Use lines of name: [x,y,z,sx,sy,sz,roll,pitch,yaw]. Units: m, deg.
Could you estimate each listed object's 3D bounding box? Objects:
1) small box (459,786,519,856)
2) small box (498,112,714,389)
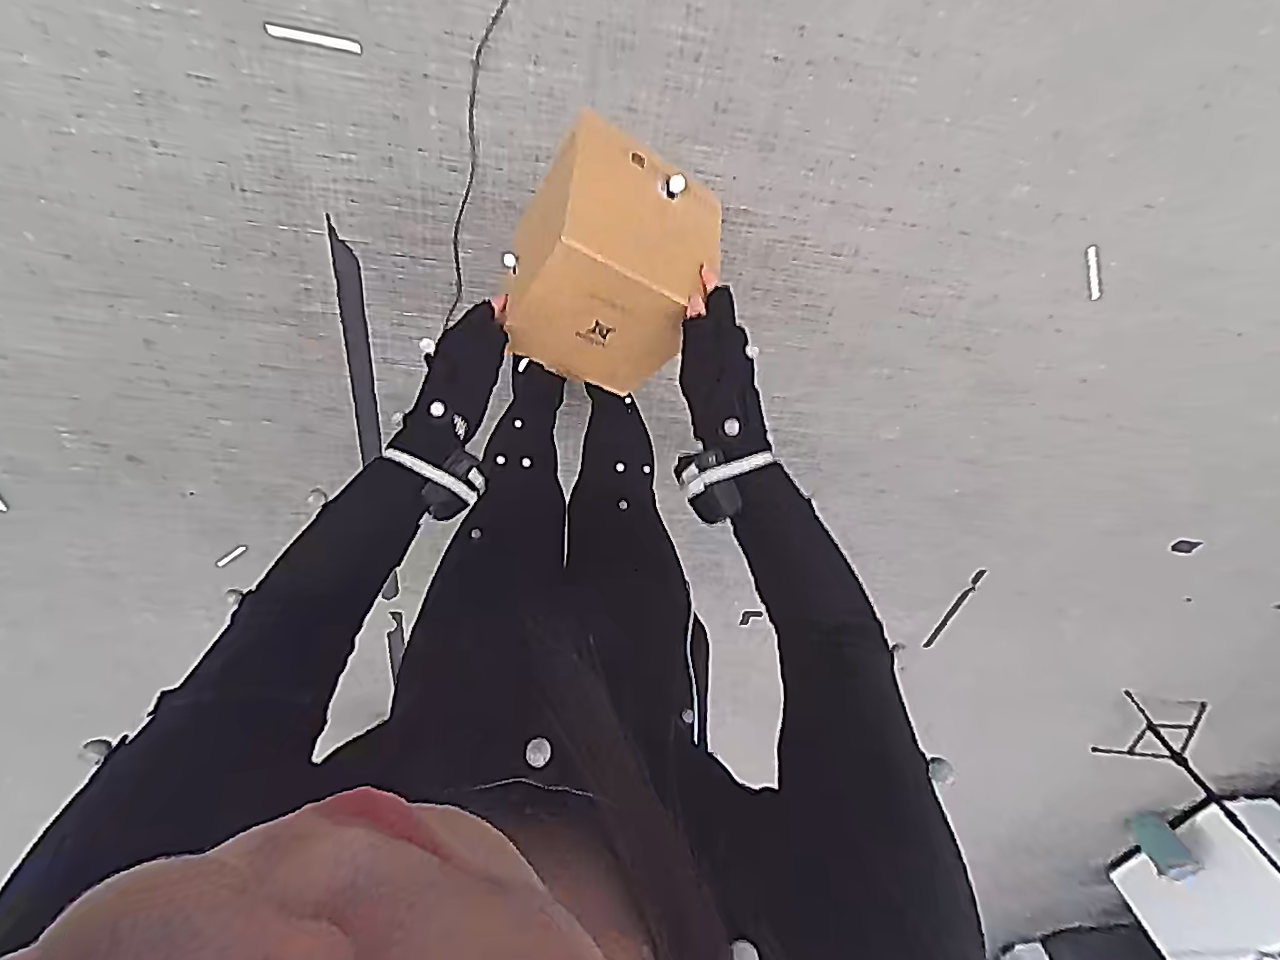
small box: [-0.527,1.195,1.896,0.179,0.176,0.168,7,125,-13]
small box: [-0.033,-0.230,0.578,0.168,0.176,0.179,17,154,-28]
